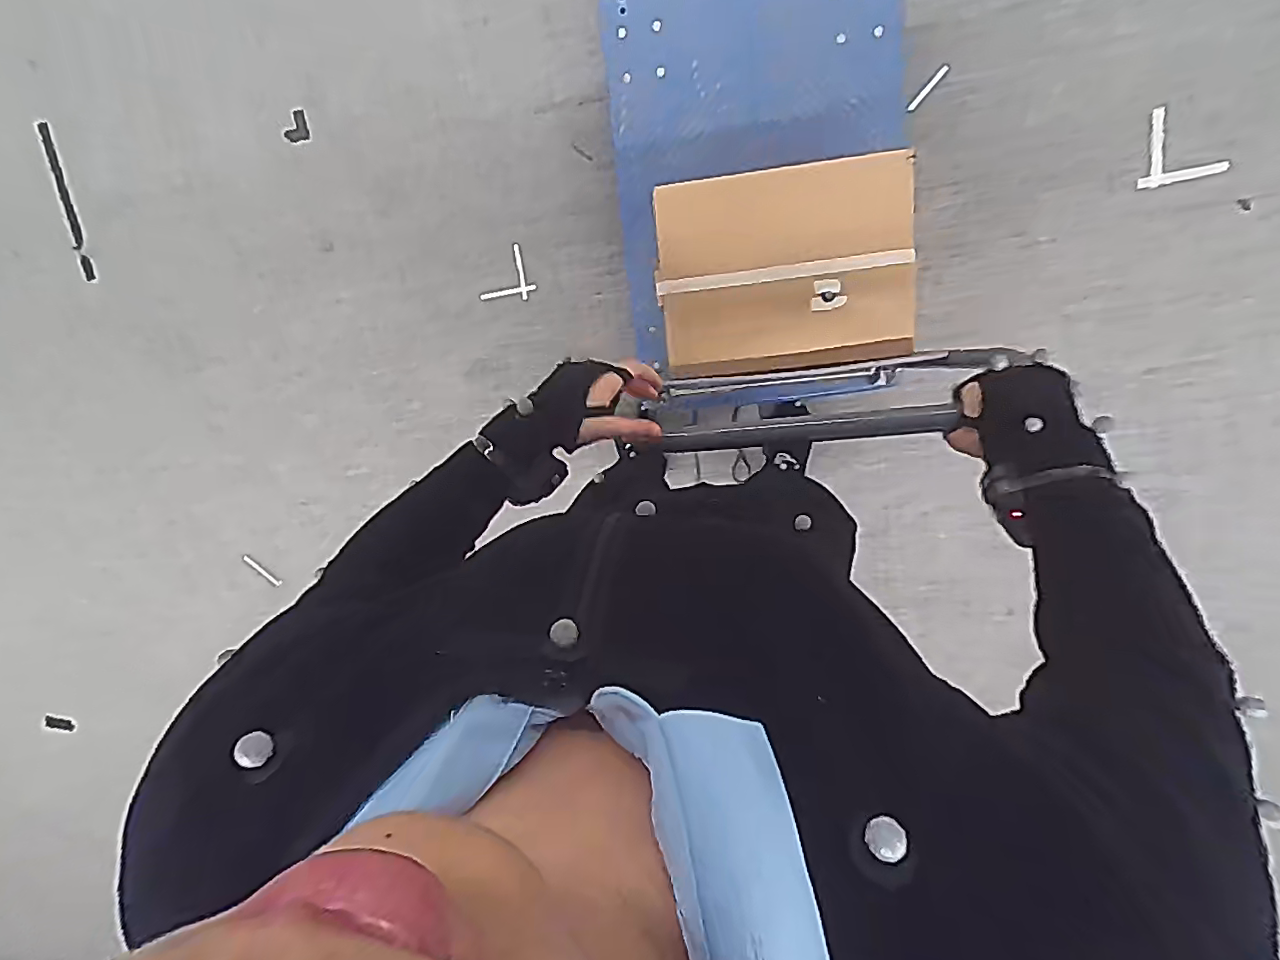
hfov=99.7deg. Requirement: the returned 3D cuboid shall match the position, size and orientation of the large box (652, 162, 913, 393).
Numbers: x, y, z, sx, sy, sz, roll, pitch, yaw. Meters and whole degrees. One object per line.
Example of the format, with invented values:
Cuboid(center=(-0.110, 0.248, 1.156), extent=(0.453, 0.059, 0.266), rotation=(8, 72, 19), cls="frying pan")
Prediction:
Cuboid(center=(0.246, -0.349, 1.022), extent=(0.408, 0.320, 0.320), rotation=(-5, 103, 7), cls="large box")
